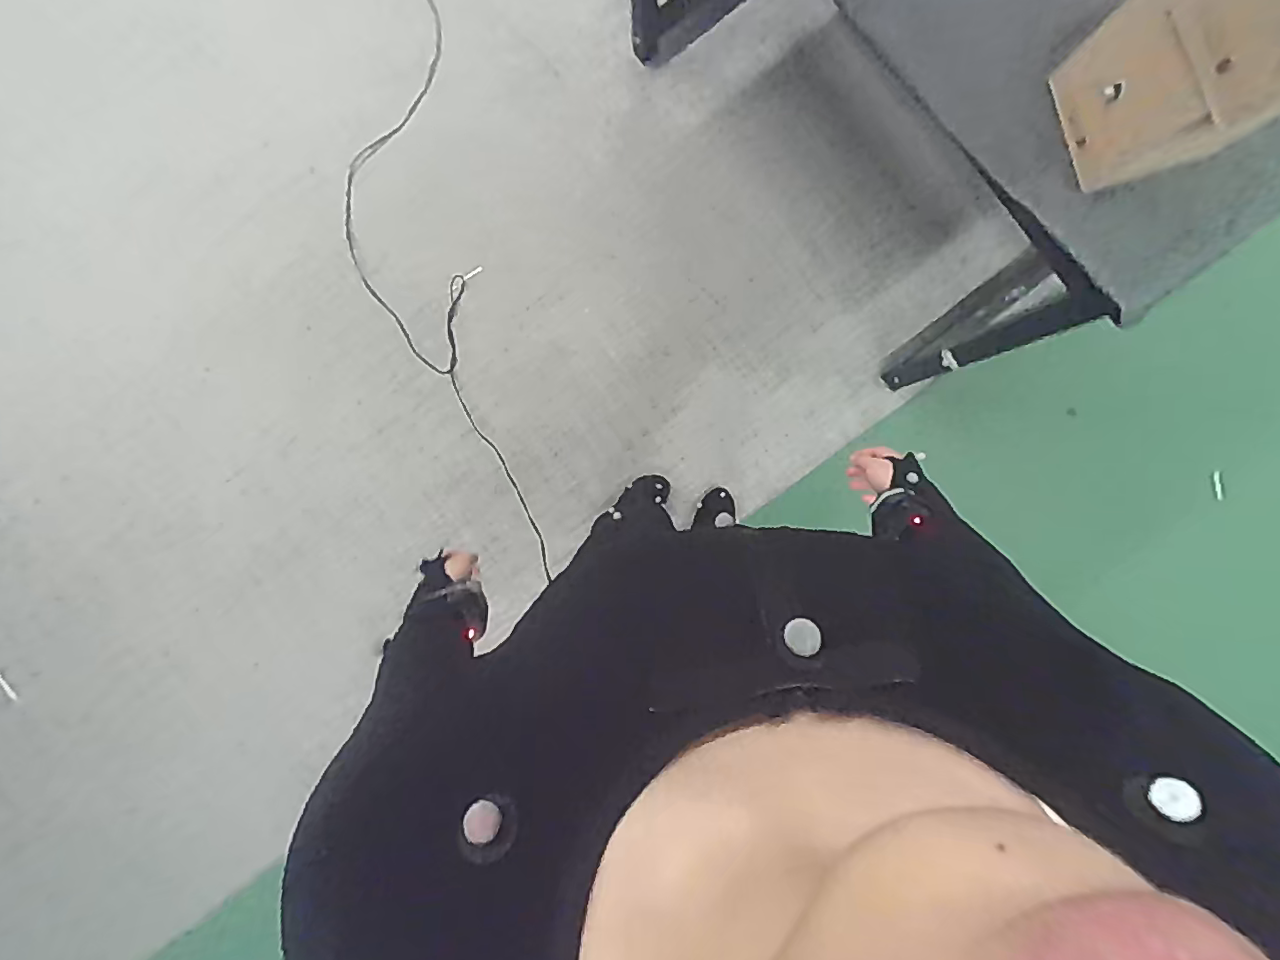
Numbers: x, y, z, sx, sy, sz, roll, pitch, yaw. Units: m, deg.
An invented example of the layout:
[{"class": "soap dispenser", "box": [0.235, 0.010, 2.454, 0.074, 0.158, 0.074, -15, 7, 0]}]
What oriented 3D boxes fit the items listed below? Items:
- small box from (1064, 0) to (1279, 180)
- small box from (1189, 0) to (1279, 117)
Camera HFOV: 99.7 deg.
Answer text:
[{"class": "small box", "box": [0.654, -0.494, 0.642, 0.179, 0.176, 0.168, -17, 90, 0]}, {"class": "small box", "box": [0.654, -0.472, 0.480, 0.179, 0.176, 0.168, -22, 91, 0]}]
